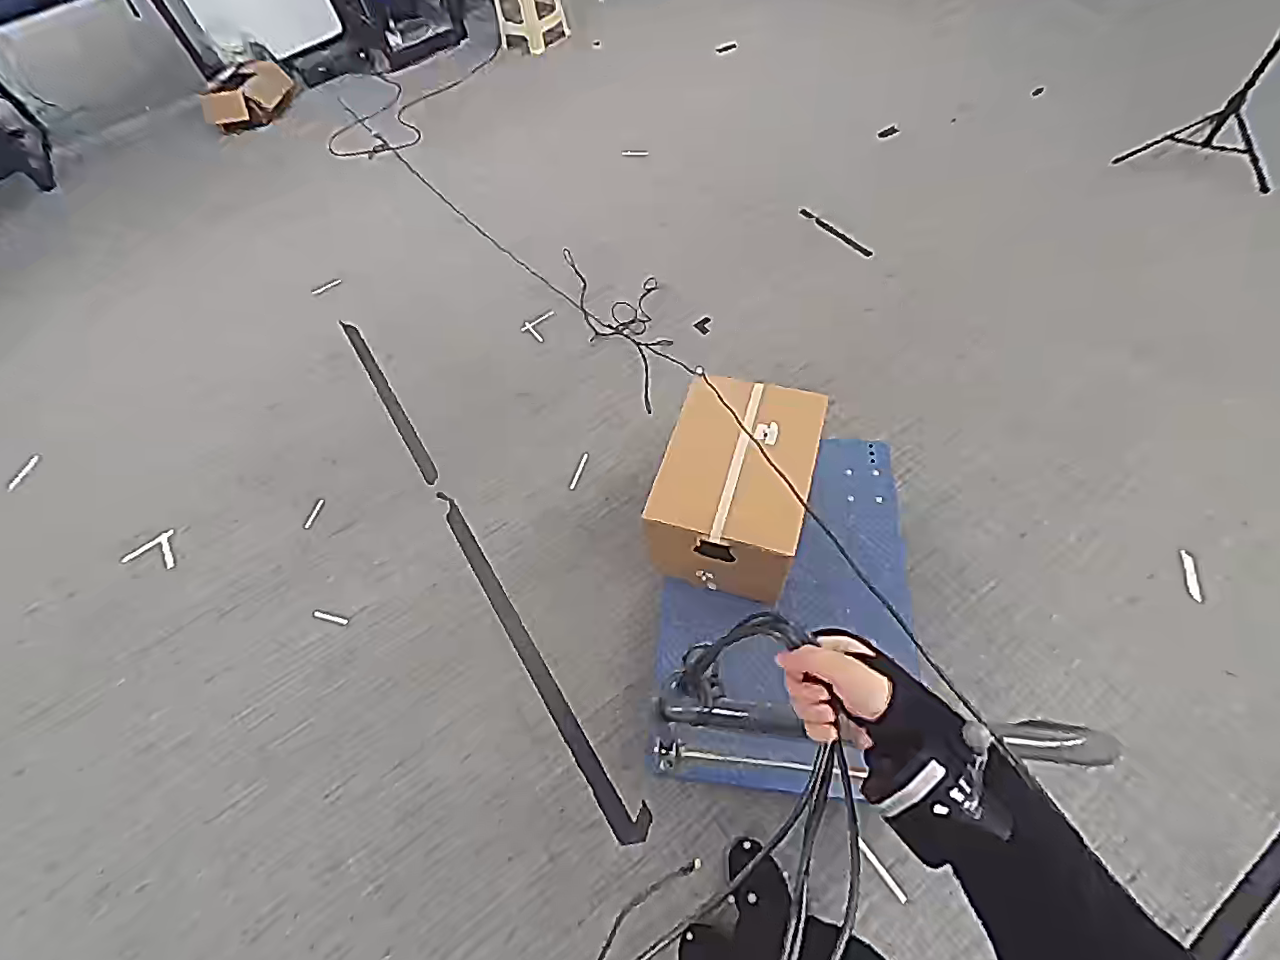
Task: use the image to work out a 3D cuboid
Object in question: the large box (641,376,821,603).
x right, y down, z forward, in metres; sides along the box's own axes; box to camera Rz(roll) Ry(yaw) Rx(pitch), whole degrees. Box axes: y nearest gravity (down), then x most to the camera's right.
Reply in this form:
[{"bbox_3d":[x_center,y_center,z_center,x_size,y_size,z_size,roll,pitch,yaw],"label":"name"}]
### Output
[{"bbox_3d":[0.220,0.026,1.278,0.320,0.320,0.408,13,62,14],"label":"large box"}]
